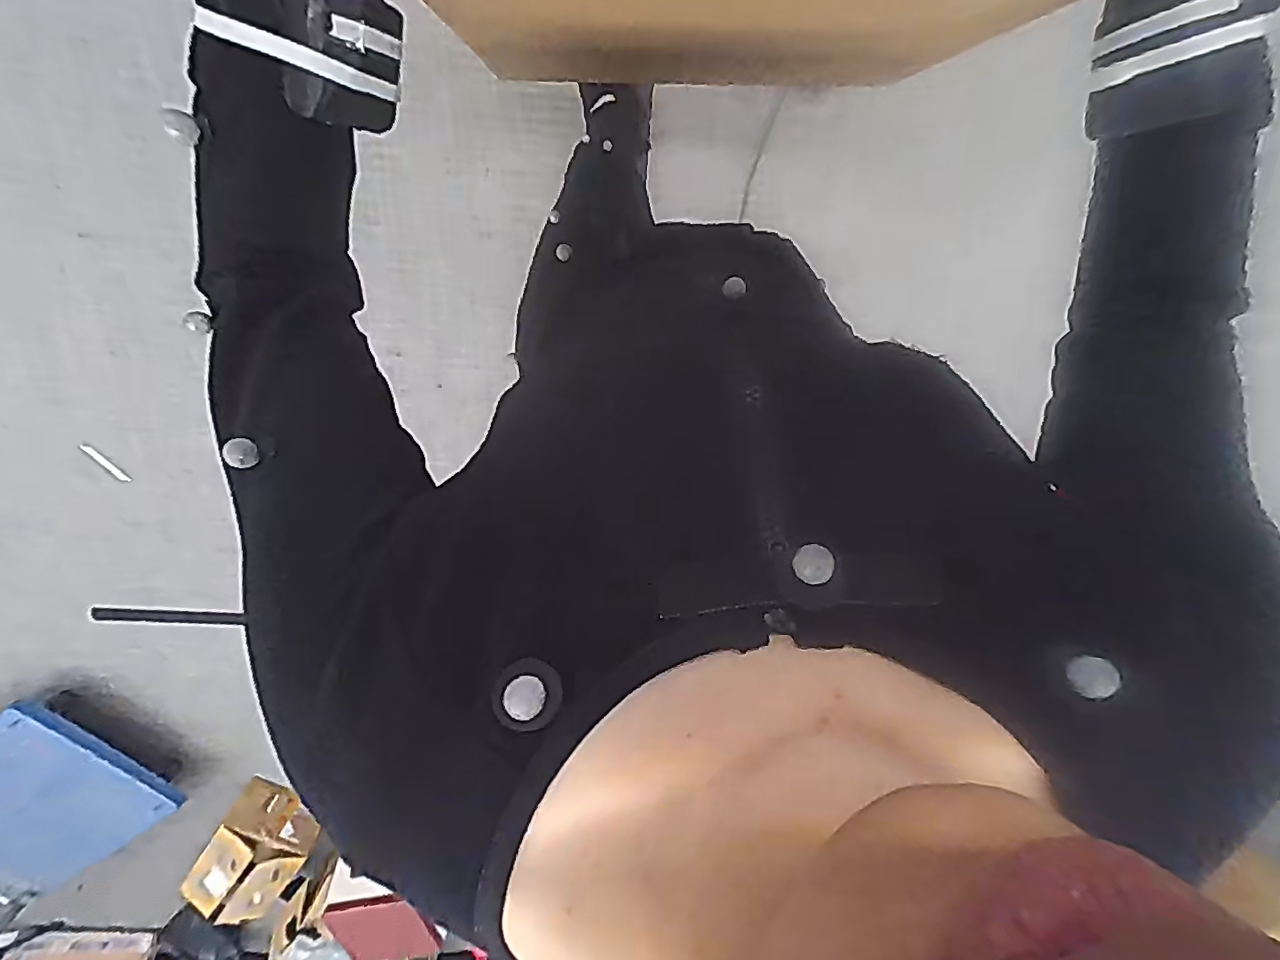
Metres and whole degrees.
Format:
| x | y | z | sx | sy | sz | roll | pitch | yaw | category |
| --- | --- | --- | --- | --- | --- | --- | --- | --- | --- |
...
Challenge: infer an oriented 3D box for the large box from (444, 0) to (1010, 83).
| x | y | z | sx | sy | sz | roll | pitch | yaw | category |
| --- | --- | --- | --- | --- | --- | --- | --- | --- | --- |
| 0.059 | -0.484 | 0.353 | 0.408 | 0.320 | 0.320 | -1 | 117 | -2 | large box |
